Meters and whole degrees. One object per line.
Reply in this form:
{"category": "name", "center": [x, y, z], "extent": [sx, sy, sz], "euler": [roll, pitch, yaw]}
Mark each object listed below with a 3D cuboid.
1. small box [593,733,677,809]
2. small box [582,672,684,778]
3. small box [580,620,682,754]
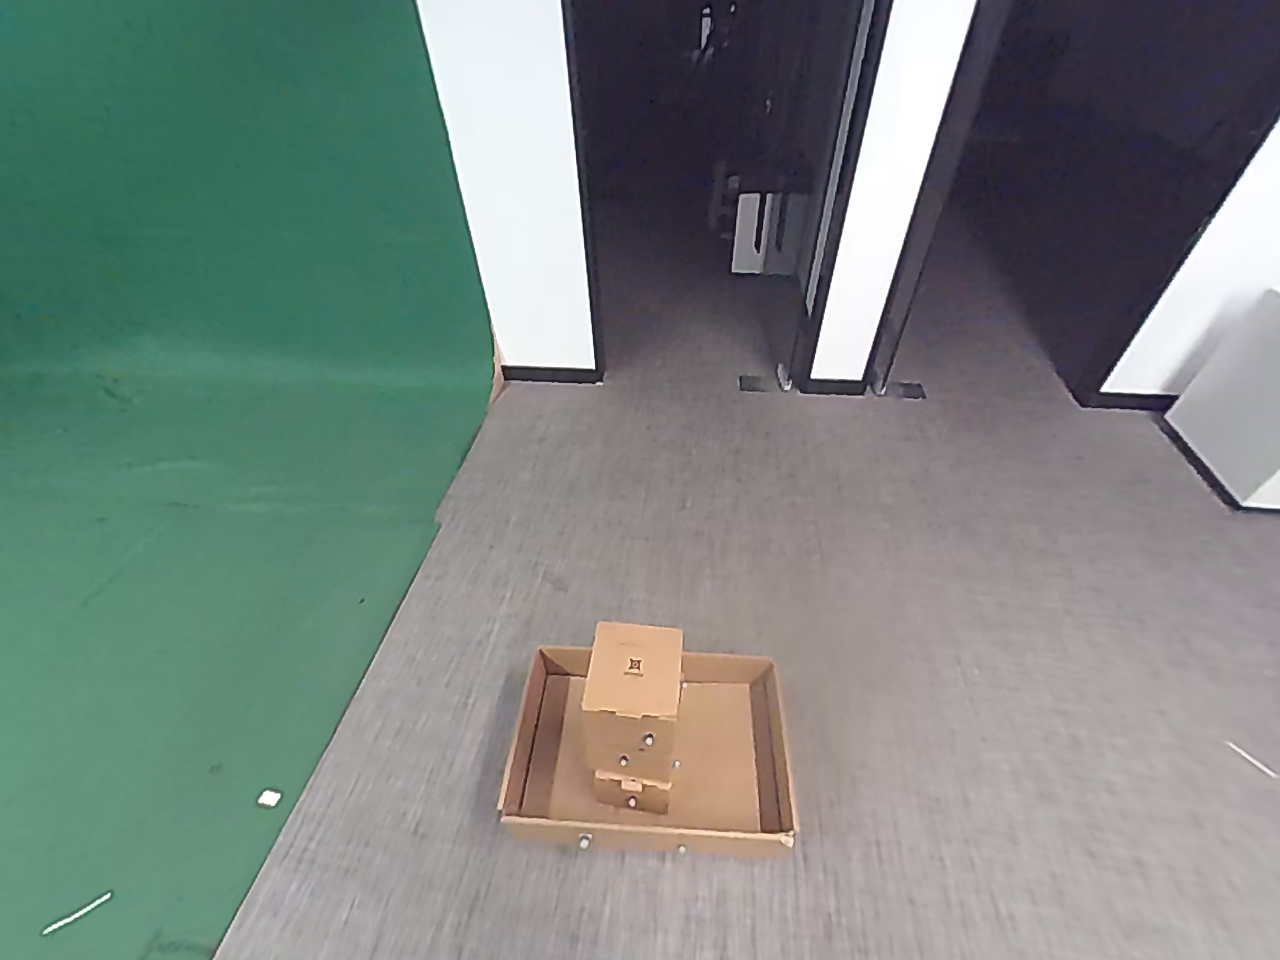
{"category": "small box", "center": [-0.004, 0.631, 1.245], "extent": [0.168, 0.176, 0.179], "euler": [7, 45, 7]}
{"category": "small box", "center": [-0.009, 0.504, 1.140], "extent": [0.179, 0.176, 0.168], "euler": [7, 43, 10]}
{"category": "small box", "center": [-0.011, 0.393, 1.022], "extent": [0.168, 0.176, 0.179], "euler": [5, 42, 4]}
